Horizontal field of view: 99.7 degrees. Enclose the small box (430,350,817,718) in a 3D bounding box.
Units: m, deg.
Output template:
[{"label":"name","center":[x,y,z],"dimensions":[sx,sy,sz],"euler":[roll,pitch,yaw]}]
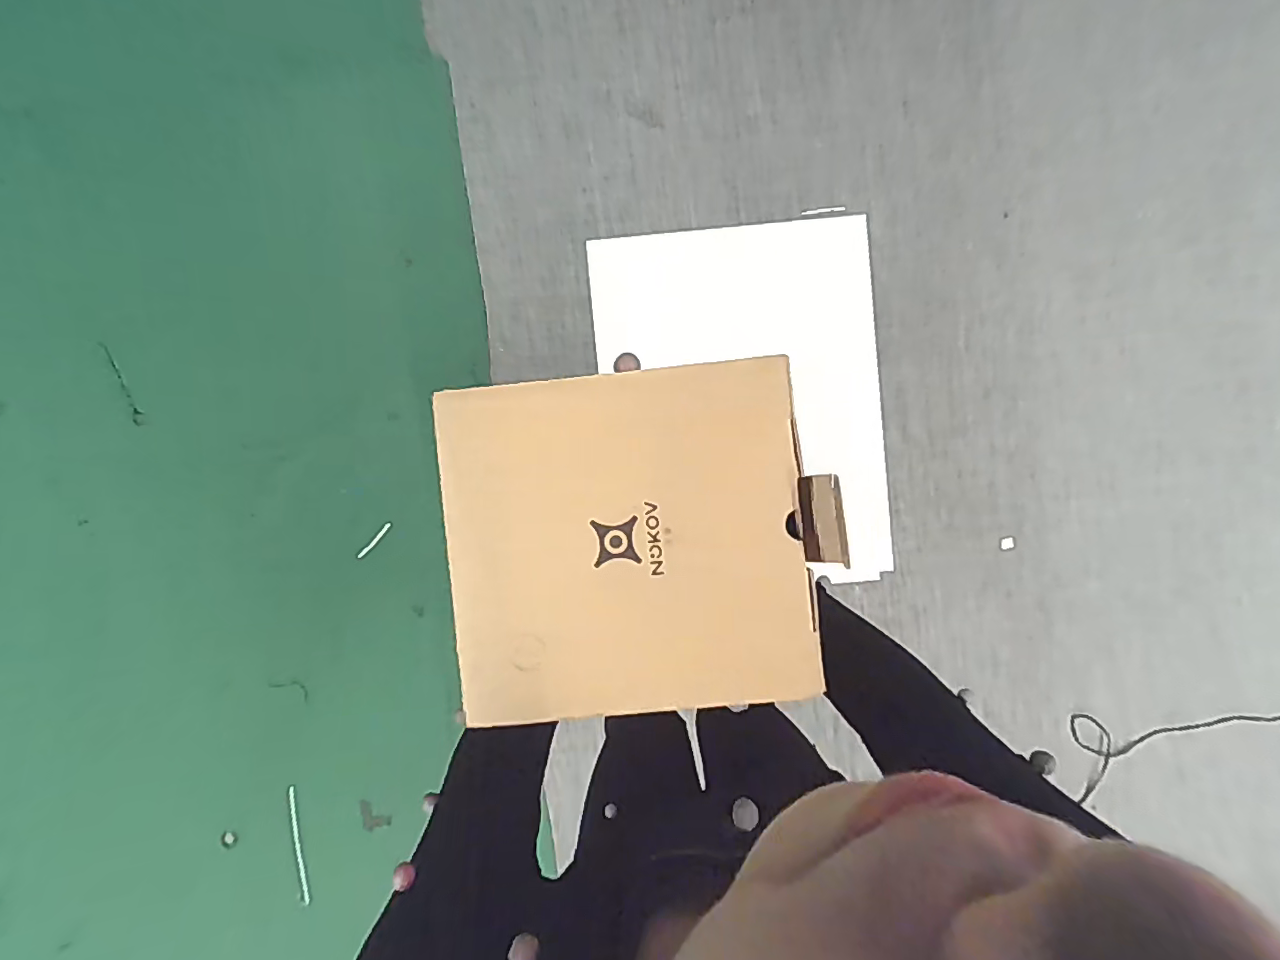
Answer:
[{"label":"small box","center":[-0.007,0.028,0.339],"dimensions":[0.179,0.176,0.168],"euler":[-6,89,1]}]
